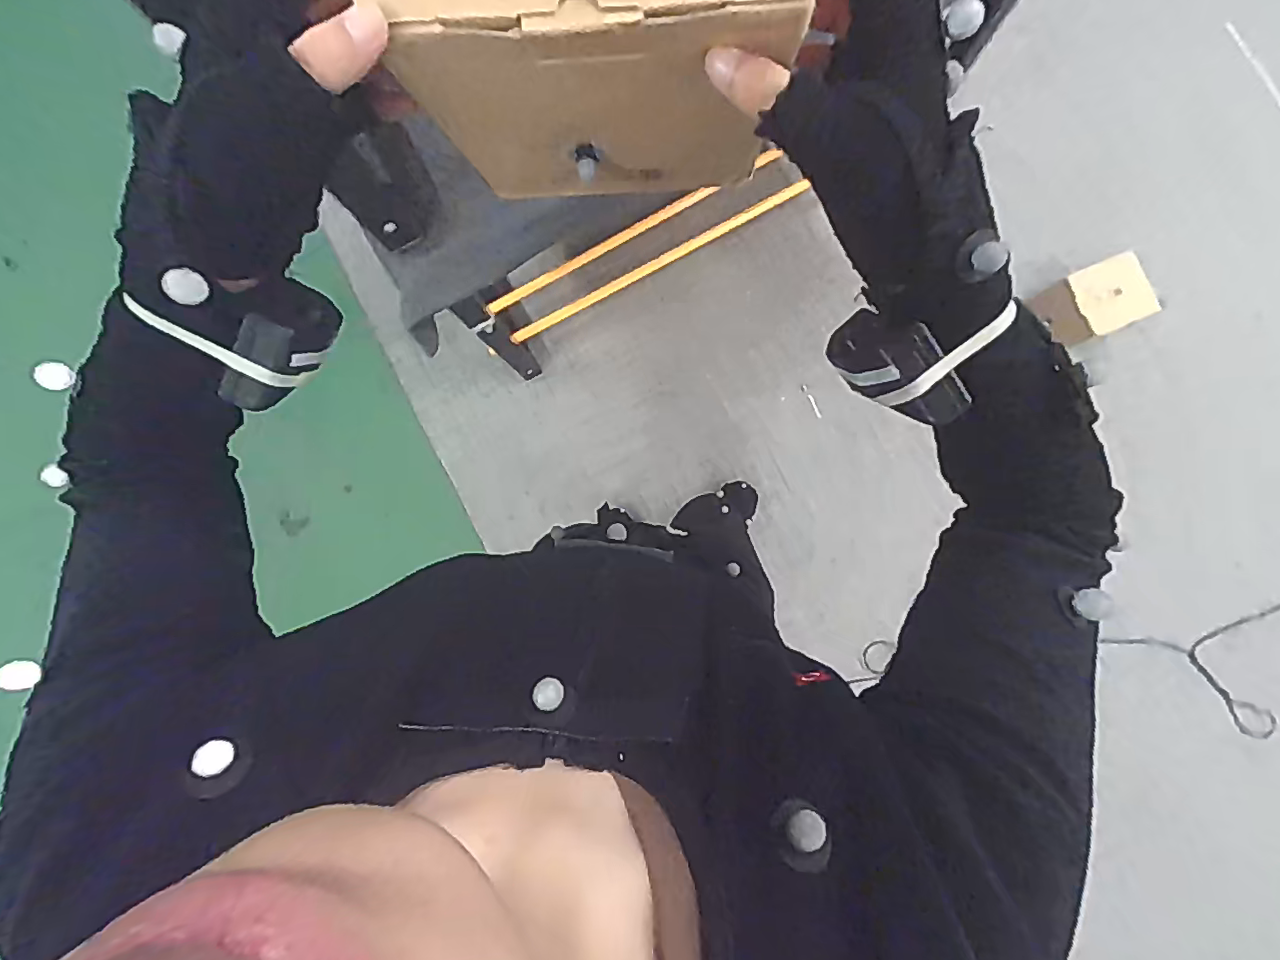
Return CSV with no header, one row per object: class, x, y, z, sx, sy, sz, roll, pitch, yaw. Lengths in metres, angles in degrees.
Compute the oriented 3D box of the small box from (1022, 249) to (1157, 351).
small box,1.148,-0.456,1.395,0.179,0.176,0.168,-23,85,1
